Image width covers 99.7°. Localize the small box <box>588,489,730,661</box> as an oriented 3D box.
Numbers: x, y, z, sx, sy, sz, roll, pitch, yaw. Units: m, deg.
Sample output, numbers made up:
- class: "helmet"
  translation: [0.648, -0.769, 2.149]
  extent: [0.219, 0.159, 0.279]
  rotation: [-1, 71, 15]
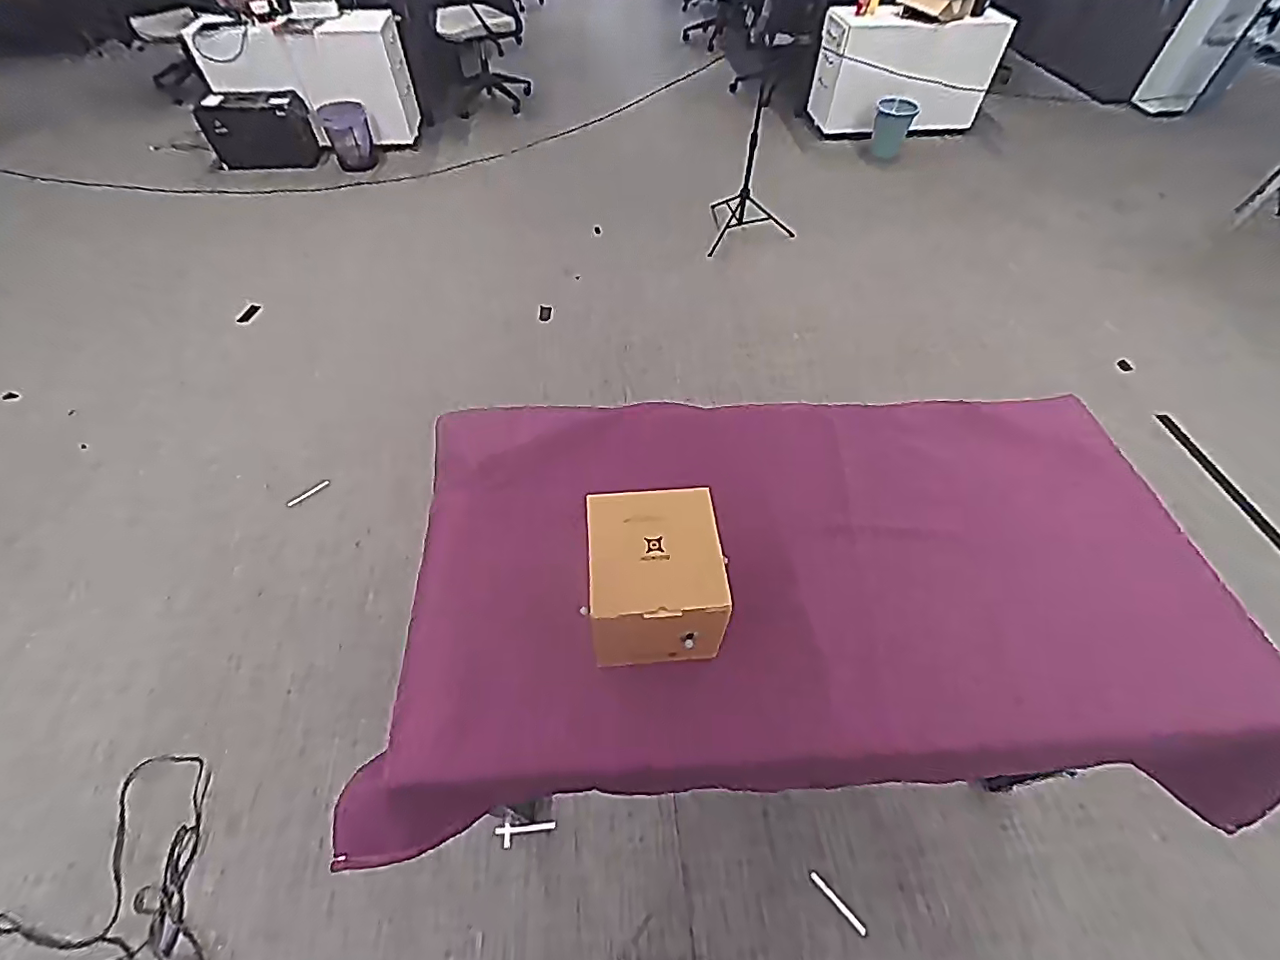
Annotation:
- class: "small box"
  translation: [0.017, 0.134, 0.729]
  extent: [0.168, 0.176, 0.179]
  rotation: [-3, 53, -4]
